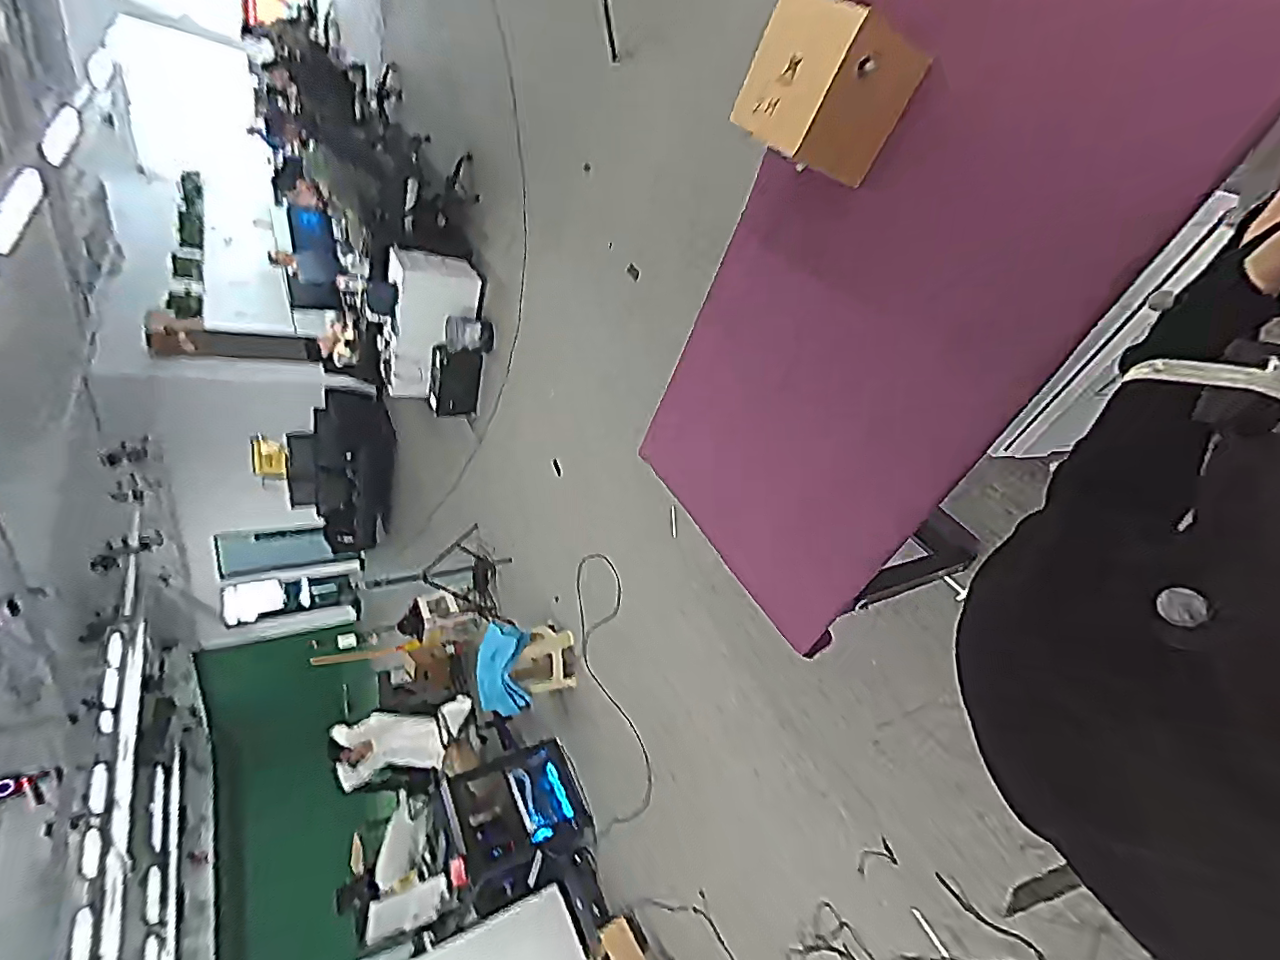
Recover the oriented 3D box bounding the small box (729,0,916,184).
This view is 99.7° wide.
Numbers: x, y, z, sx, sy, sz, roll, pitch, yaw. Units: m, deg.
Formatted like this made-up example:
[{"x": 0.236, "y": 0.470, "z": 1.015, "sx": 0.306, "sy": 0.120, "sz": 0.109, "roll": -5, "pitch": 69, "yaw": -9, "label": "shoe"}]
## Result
[{"x": 0.272, "y": -0.575, "z": 0.803, "sx": 0.168, "sy": 0.176, "sz": 0.179, "roll": 56, "pitch": 136, "yaw": 33, "label": "small box"}]
